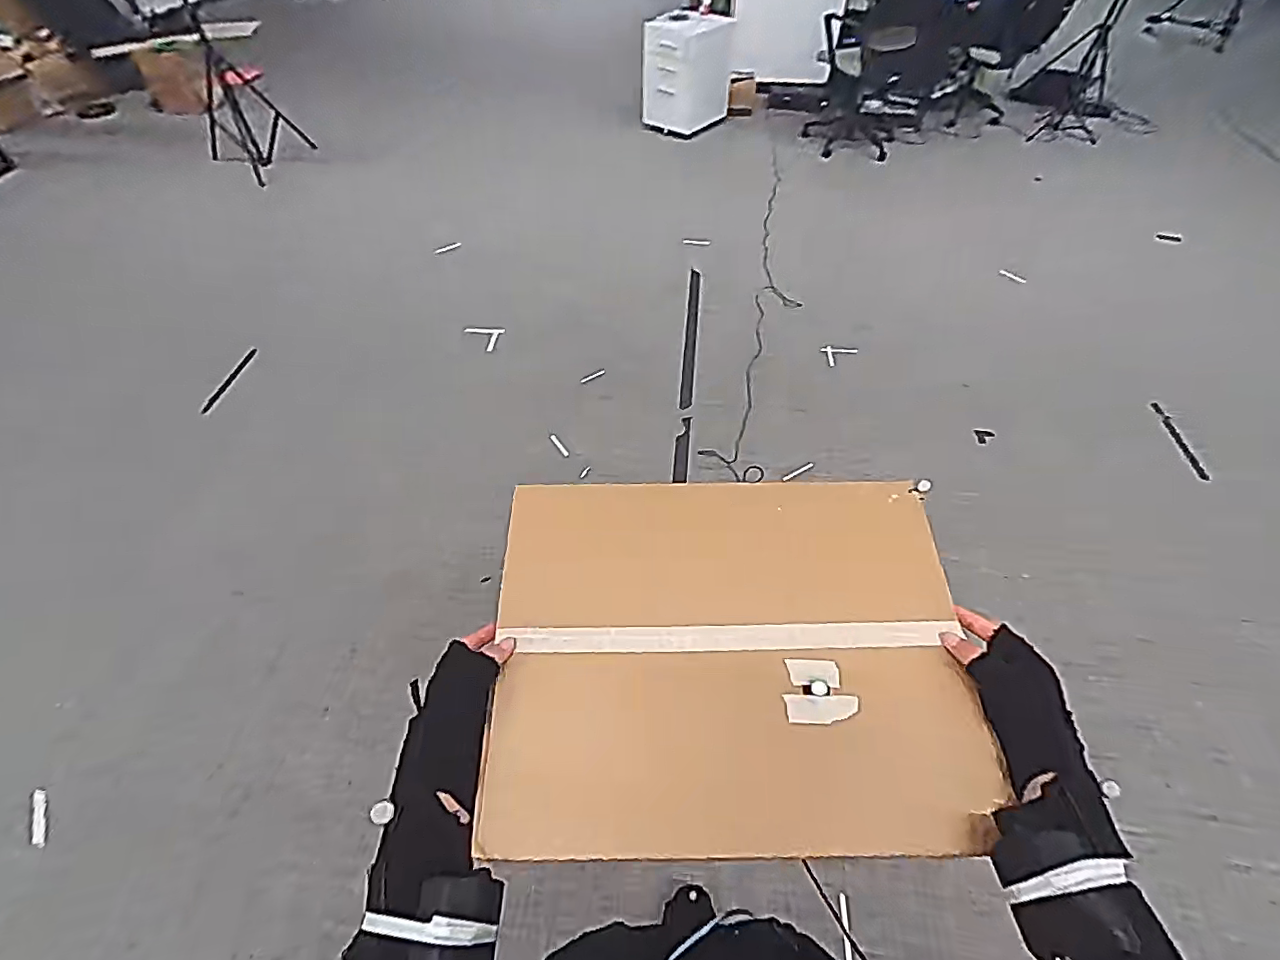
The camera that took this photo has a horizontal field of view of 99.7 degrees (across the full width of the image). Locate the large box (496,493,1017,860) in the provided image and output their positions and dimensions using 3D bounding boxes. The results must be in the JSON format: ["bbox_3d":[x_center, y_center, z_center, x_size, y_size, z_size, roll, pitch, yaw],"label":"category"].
[{"bbox_3d":[0.083,0.224,0.607,0.408,0.320,0.320,0,59,-1],"label":"large box"}]
